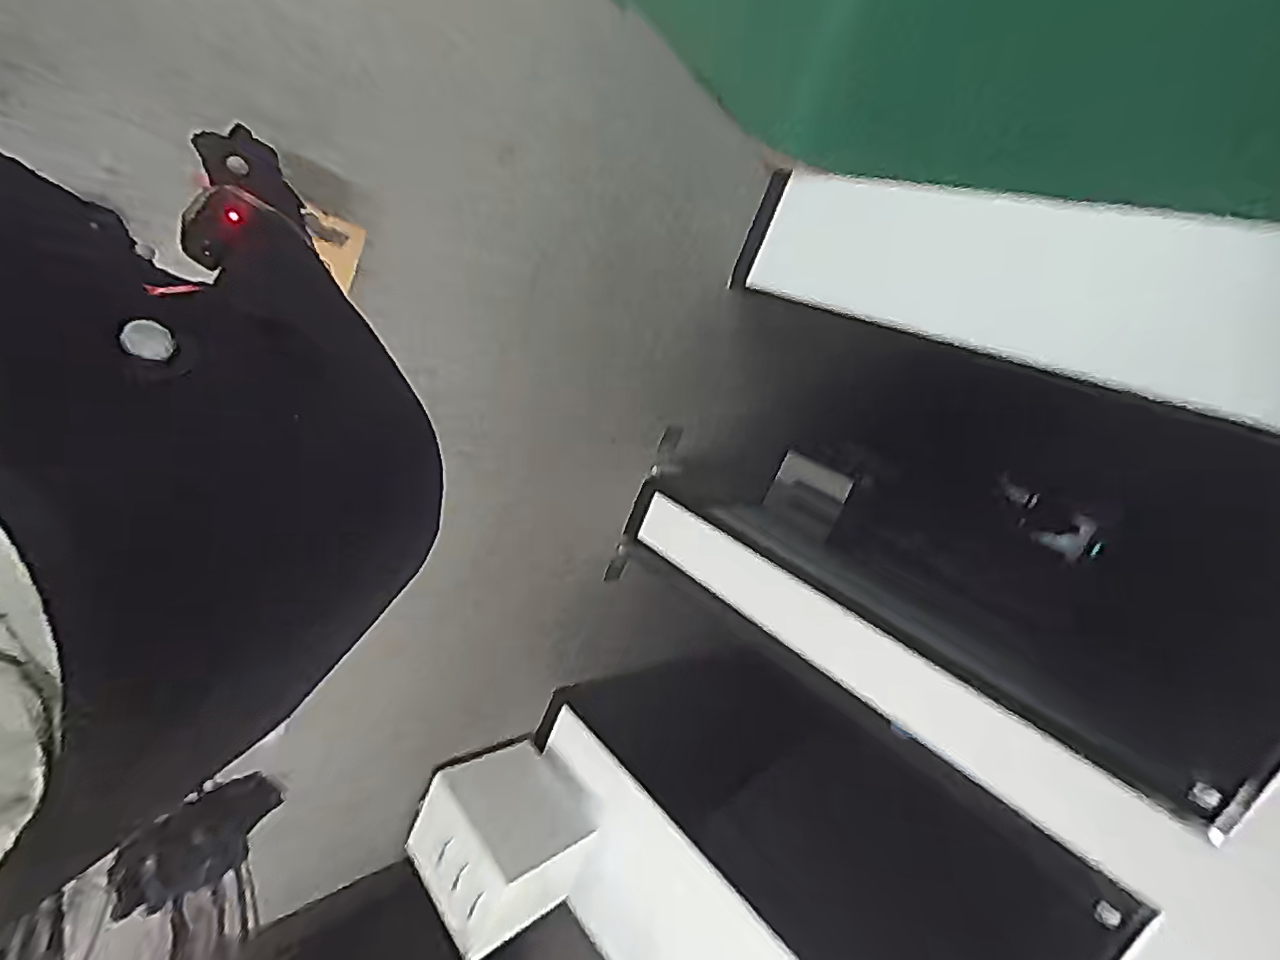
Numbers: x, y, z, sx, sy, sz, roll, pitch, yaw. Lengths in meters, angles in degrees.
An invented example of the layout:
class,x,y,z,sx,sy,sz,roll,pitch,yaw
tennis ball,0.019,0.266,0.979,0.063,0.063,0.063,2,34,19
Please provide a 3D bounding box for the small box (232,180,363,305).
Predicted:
class,x,y,z,sx,sy,sz,roll,pitch,yaw
small box,-0.719,-0.498,1.129,0.168,0.176,0.179,11,107,-53
